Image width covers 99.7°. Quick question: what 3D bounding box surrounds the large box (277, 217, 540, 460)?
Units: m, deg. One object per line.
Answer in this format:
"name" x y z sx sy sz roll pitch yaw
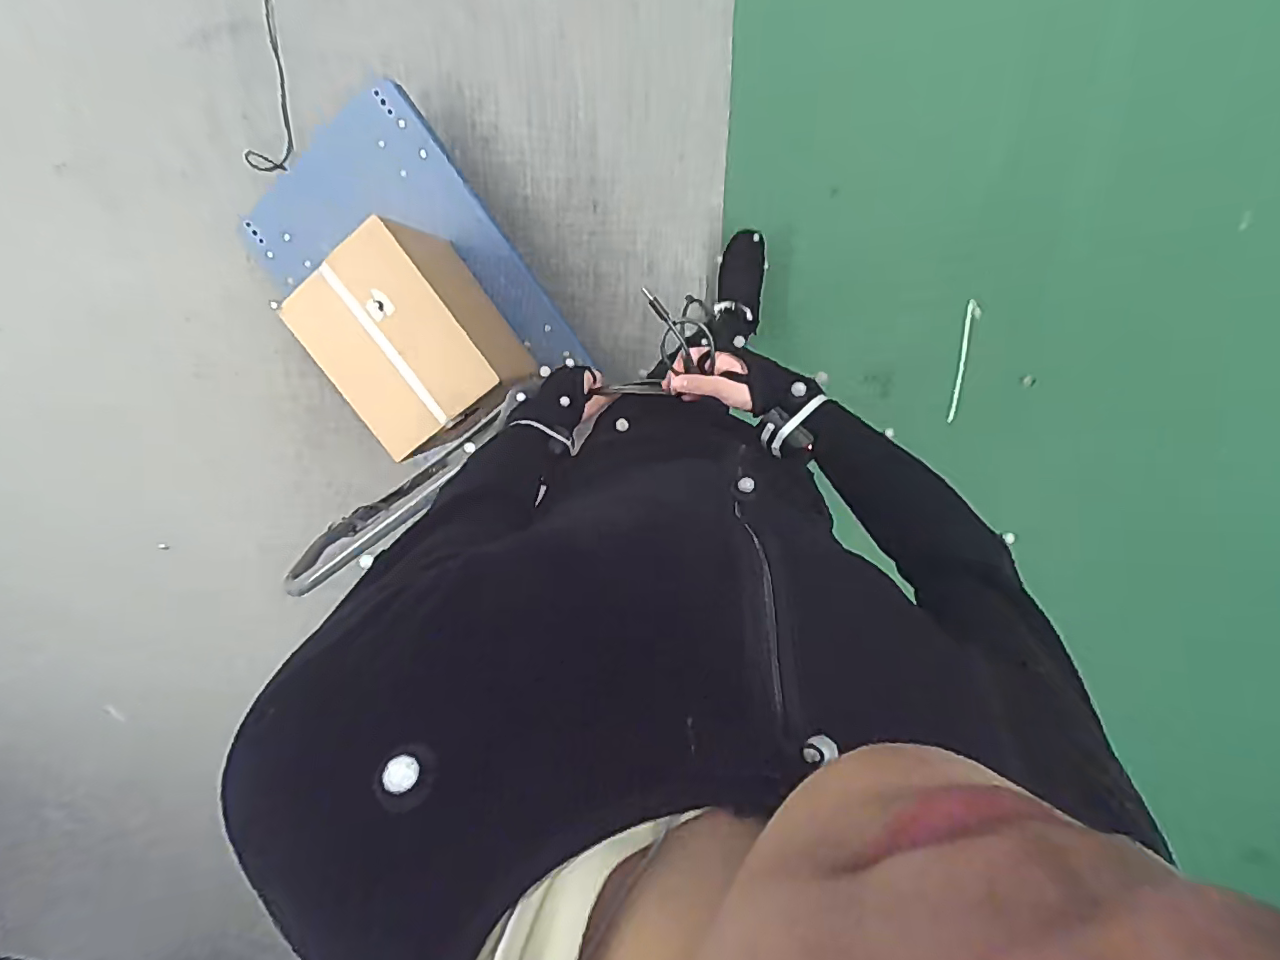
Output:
"large box" -0.507 -0.315 1.263 0.320 0.320 0.408 -34 97 13
